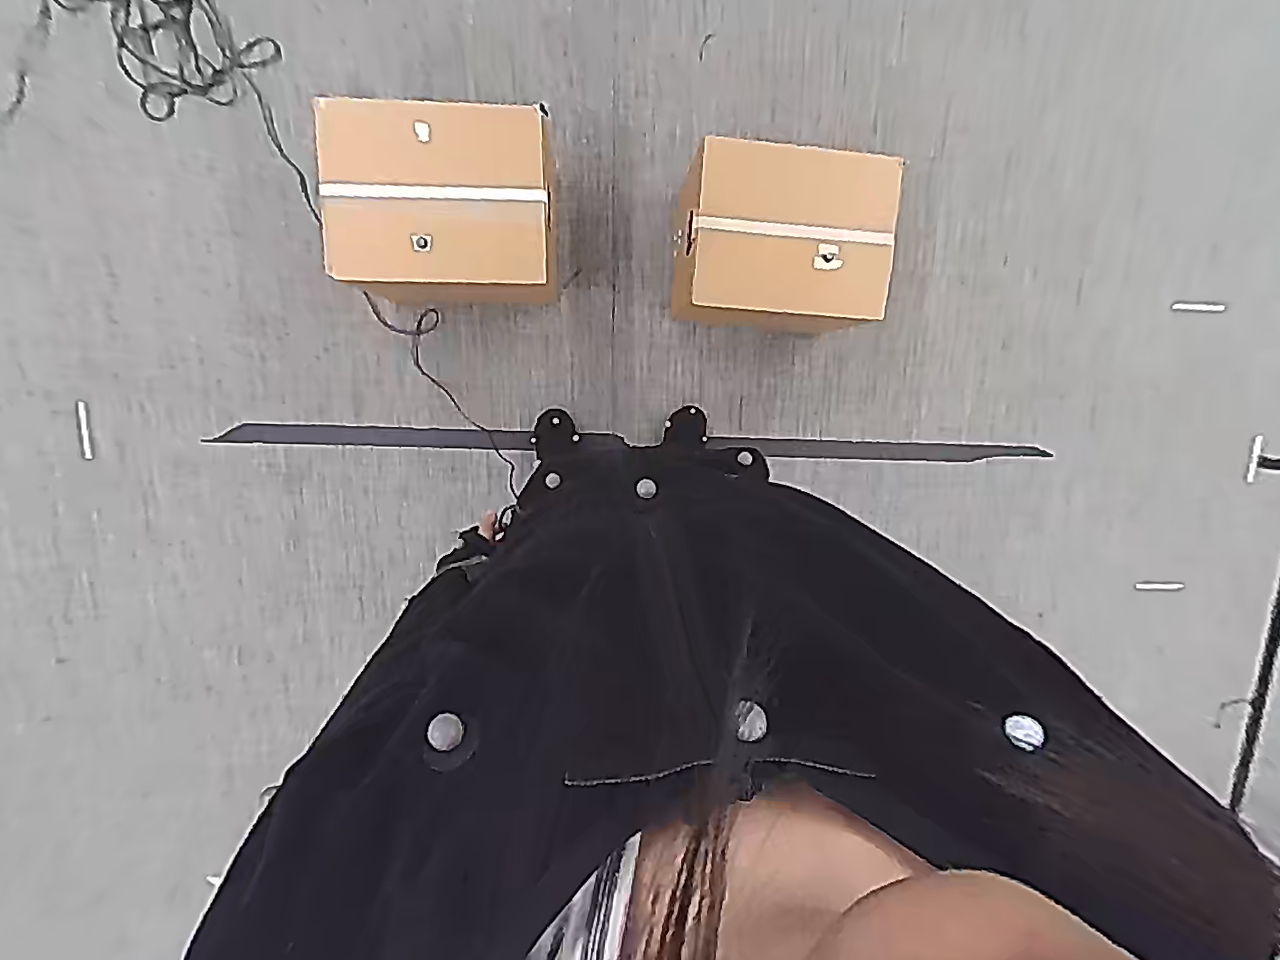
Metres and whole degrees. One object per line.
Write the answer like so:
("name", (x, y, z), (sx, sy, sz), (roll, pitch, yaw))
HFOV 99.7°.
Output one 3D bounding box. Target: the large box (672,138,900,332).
("large box", (0.297, -0.522, 1.224), (0.408, 0.320, 0.320), (3, 100, -6))
